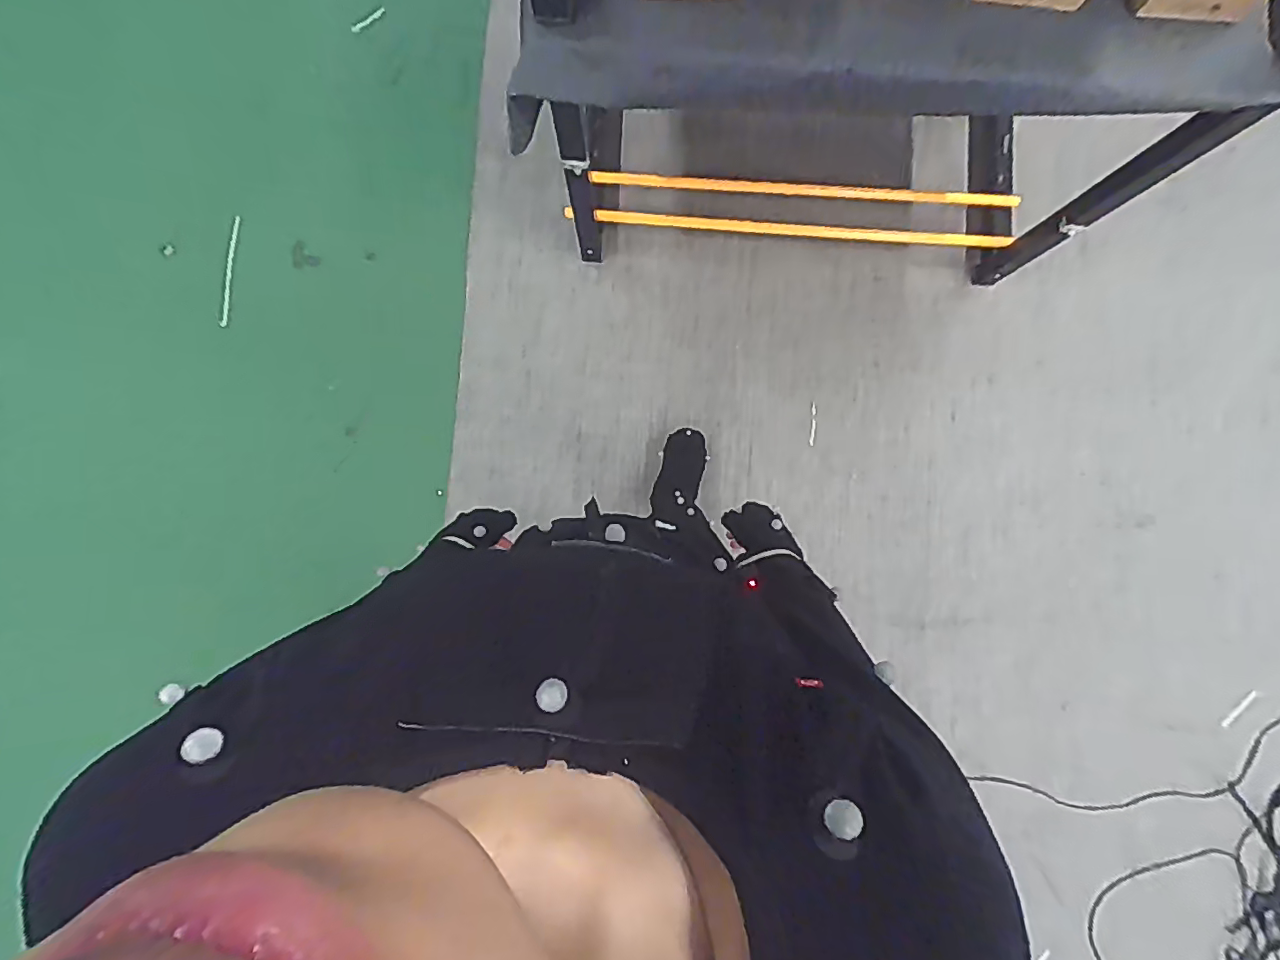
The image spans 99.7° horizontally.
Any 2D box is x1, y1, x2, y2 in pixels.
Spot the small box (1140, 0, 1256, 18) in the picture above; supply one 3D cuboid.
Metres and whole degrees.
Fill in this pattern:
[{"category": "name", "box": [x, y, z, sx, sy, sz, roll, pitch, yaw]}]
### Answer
[{"category": "small box", "box": [0.824, -0.784, 0.738, 0.168, 0.176, 0.179, 3, 86, -1]}]
